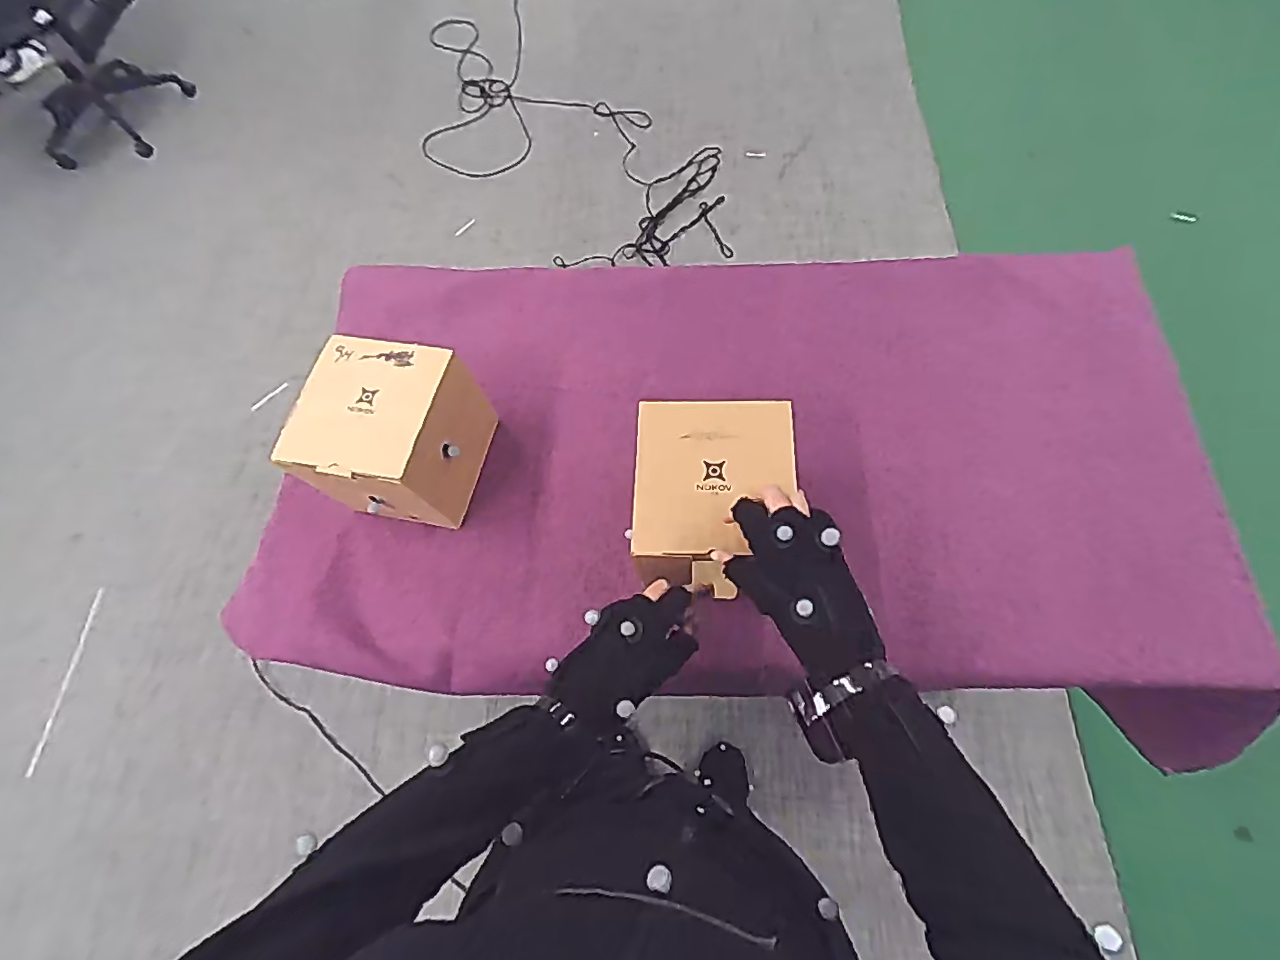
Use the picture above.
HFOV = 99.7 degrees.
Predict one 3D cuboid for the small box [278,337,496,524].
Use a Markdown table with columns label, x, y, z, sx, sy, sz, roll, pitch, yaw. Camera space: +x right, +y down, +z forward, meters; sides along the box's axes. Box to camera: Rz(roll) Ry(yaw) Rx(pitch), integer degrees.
| label | x | y | z | sx | sy | sz | roll | pitch | yaw |
| --- | --- | --- | --- | --- | --- | --- | --- | --- | --- |
| small box | -0.306 | -0.055 | 0.698 | 0.168 | 0.176 | 0.179 | 9 | 69 | 9 |

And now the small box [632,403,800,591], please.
| label | x | y | z | sx | sy | sz | roll | pitch | yaw |
| --- | --- | --- | --- | --- | --- | --- | --- | --- | --- |
| small box | 0.085 | 0.027 | 0.627 | 0.168 | 0.176 | 0.179 | 1 | 67 | 6 |
